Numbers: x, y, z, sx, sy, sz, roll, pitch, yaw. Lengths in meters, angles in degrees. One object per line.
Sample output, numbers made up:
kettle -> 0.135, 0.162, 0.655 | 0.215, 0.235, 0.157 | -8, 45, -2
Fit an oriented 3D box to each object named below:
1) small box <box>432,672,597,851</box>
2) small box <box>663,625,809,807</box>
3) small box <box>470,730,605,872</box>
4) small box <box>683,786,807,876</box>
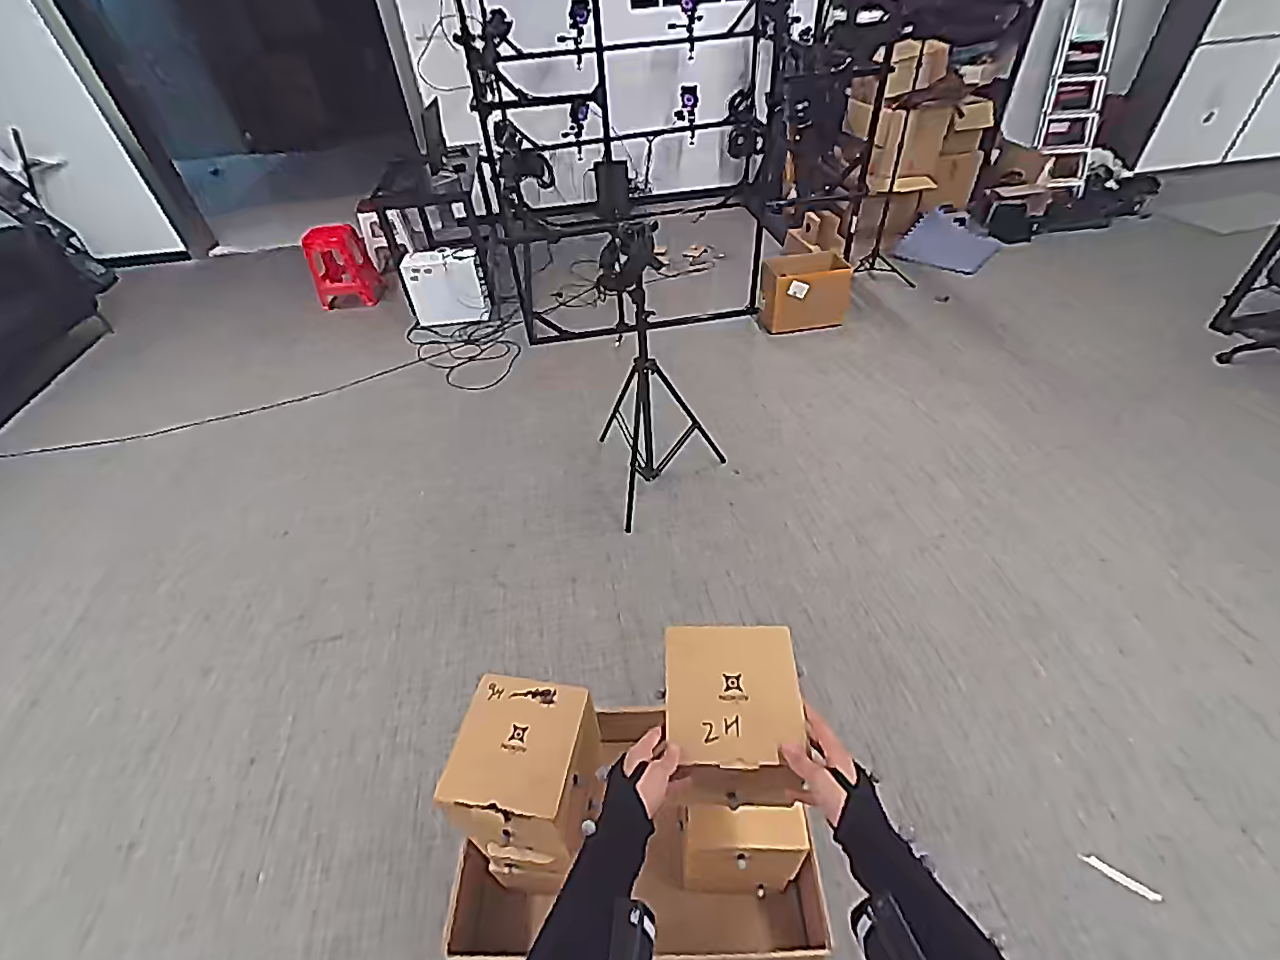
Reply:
small box -> -0.166, 0.411, 0.787 | 0.168, 0.176, 0.179 | 5, 44, 10
small box -> 0.115, 0.313, 0.720 | 0.168, 0.176, 0.179 | -1, 46, 4
small box -> -0.157, 0.528, 0.903 | 0.168, 0.176, 0.179 | 2, 42, 7
small box -> 0.159, 0.525, 0.880 | 0.179, 0.176, 0.168 | -2, 42, 4
